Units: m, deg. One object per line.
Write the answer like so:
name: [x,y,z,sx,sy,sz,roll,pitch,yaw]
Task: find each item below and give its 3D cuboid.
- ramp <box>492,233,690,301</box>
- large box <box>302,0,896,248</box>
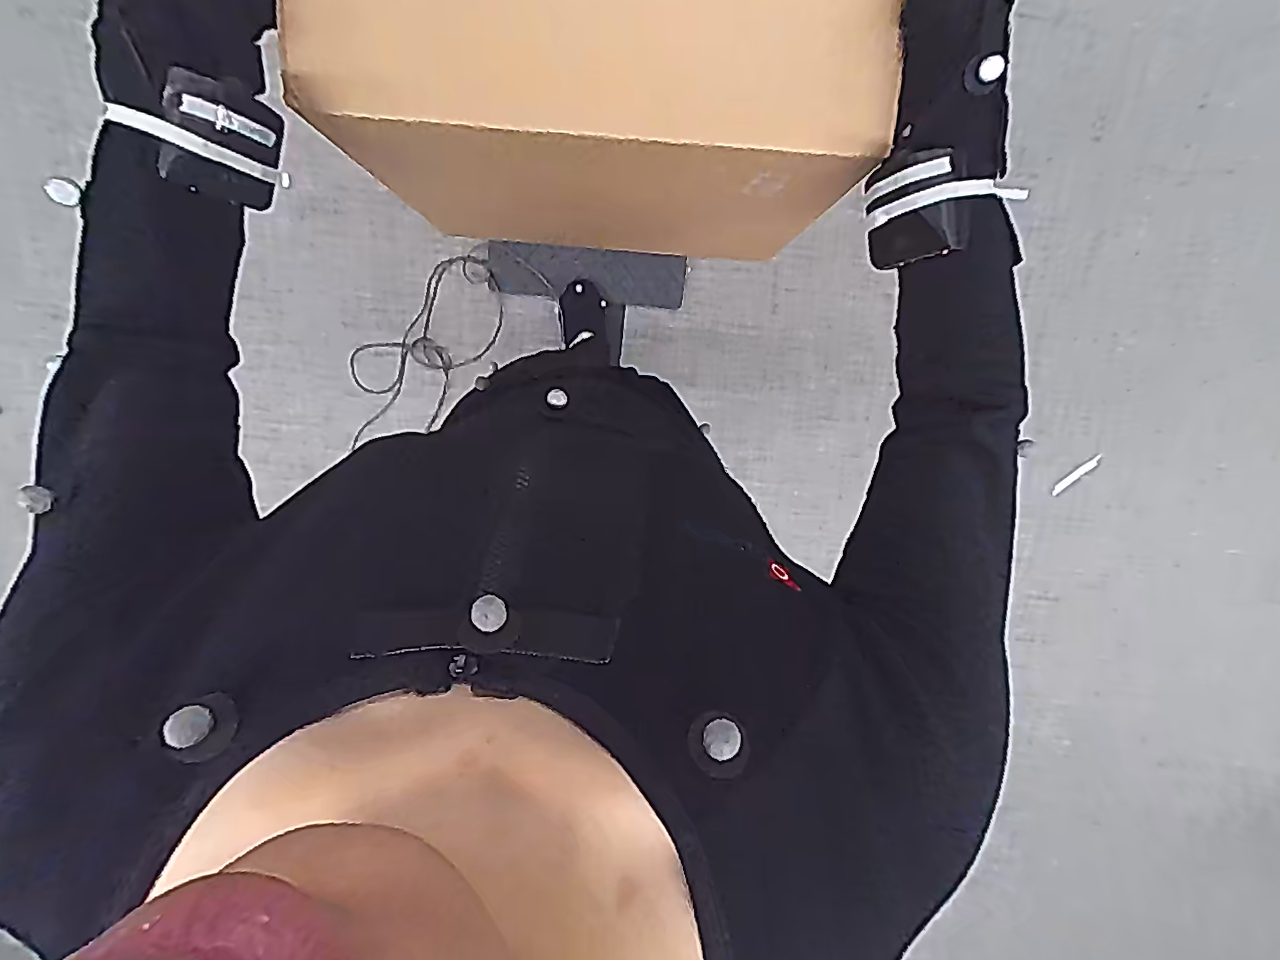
ramp: [-0.087,-0.937,1.202,0.509,0.206,0.991,3,101,-3]
large box: [-0.026,-0.421,0.496,0.408,0.320,0.320,3,100,-3]
